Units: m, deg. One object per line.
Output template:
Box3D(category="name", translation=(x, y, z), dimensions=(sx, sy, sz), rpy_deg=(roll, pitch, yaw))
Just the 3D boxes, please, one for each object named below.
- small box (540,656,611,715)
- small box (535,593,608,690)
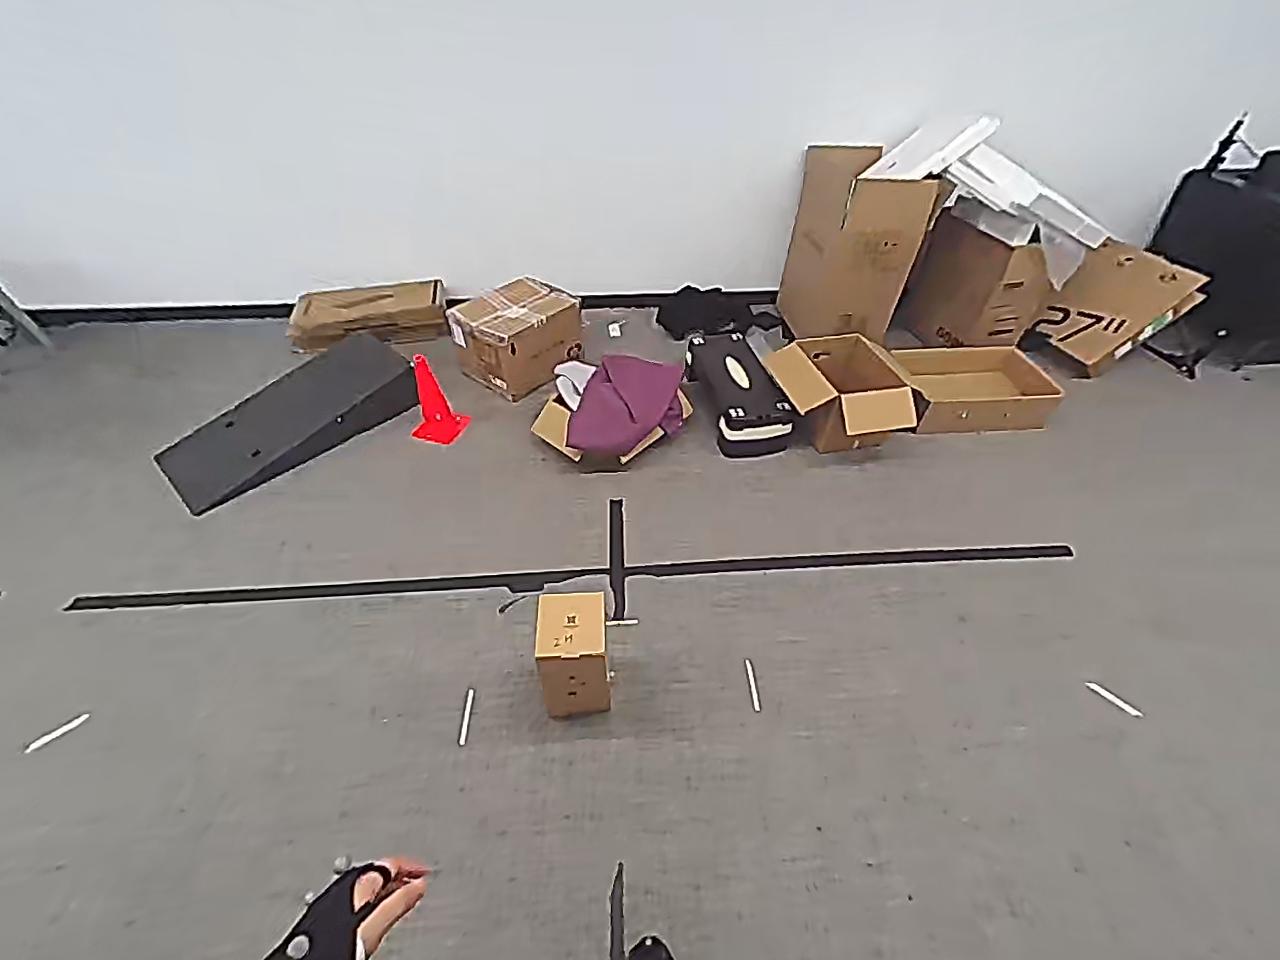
Box3D(category="small box", translation=(-0.174, 0.525, 1.478), dimensions=(0.179, 0.176, 0.168), rpy_deg=(-4, 45, -6))
Box3D(category="small box", translation=(-0.168, 0.406, 1.364), dimensions=(0.168, 0.176, 0.179), rpy_deg=(-2, 45, -3))
